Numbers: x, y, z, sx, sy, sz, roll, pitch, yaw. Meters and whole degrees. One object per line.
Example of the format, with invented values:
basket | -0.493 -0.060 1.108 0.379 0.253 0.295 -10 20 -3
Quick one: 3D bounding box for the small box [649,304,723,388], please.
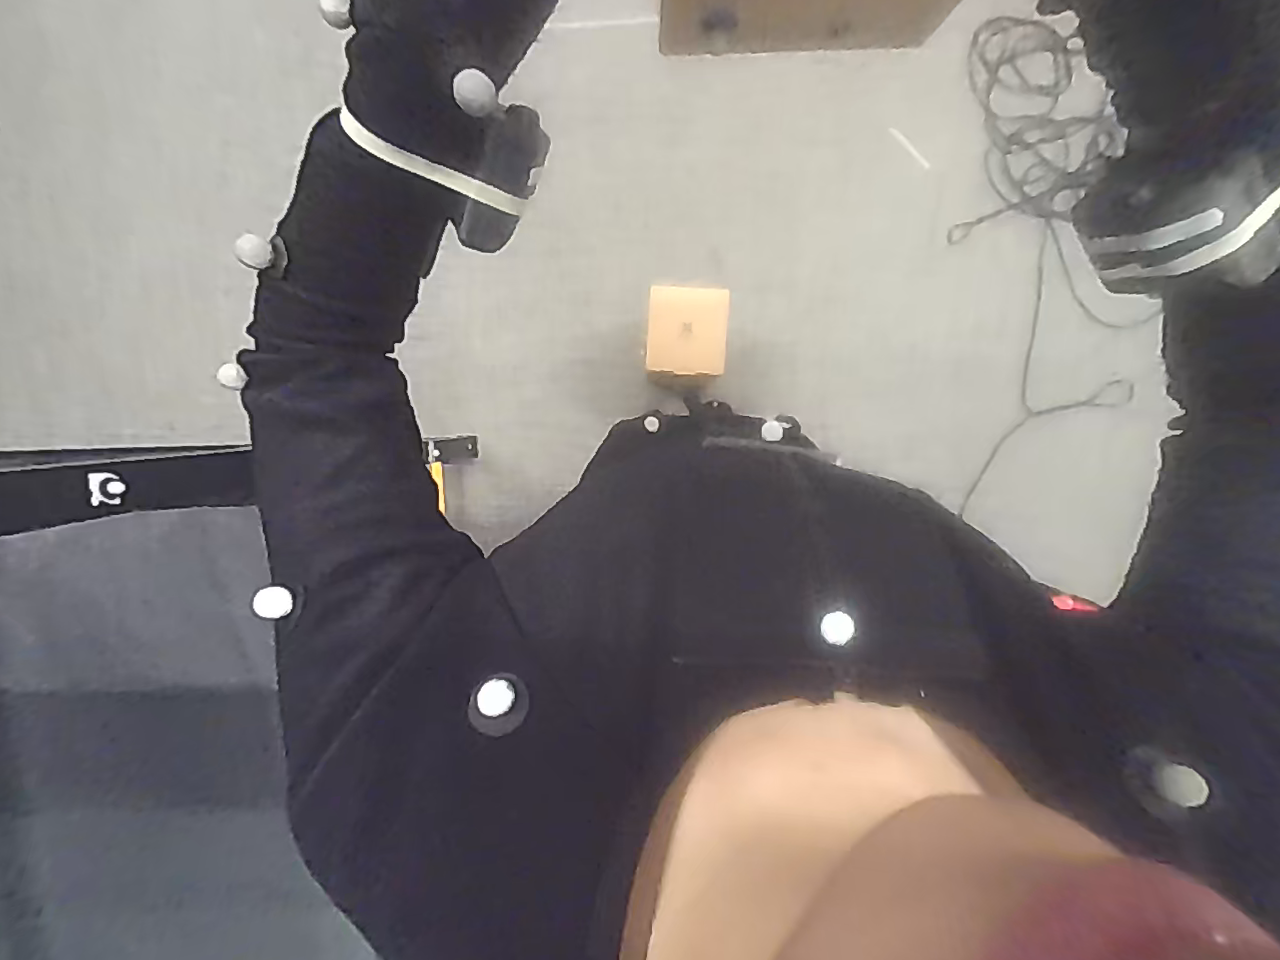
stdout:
small box | 0.111 -0.332 1.366 0.168 0.176 0.179 5 96 2
